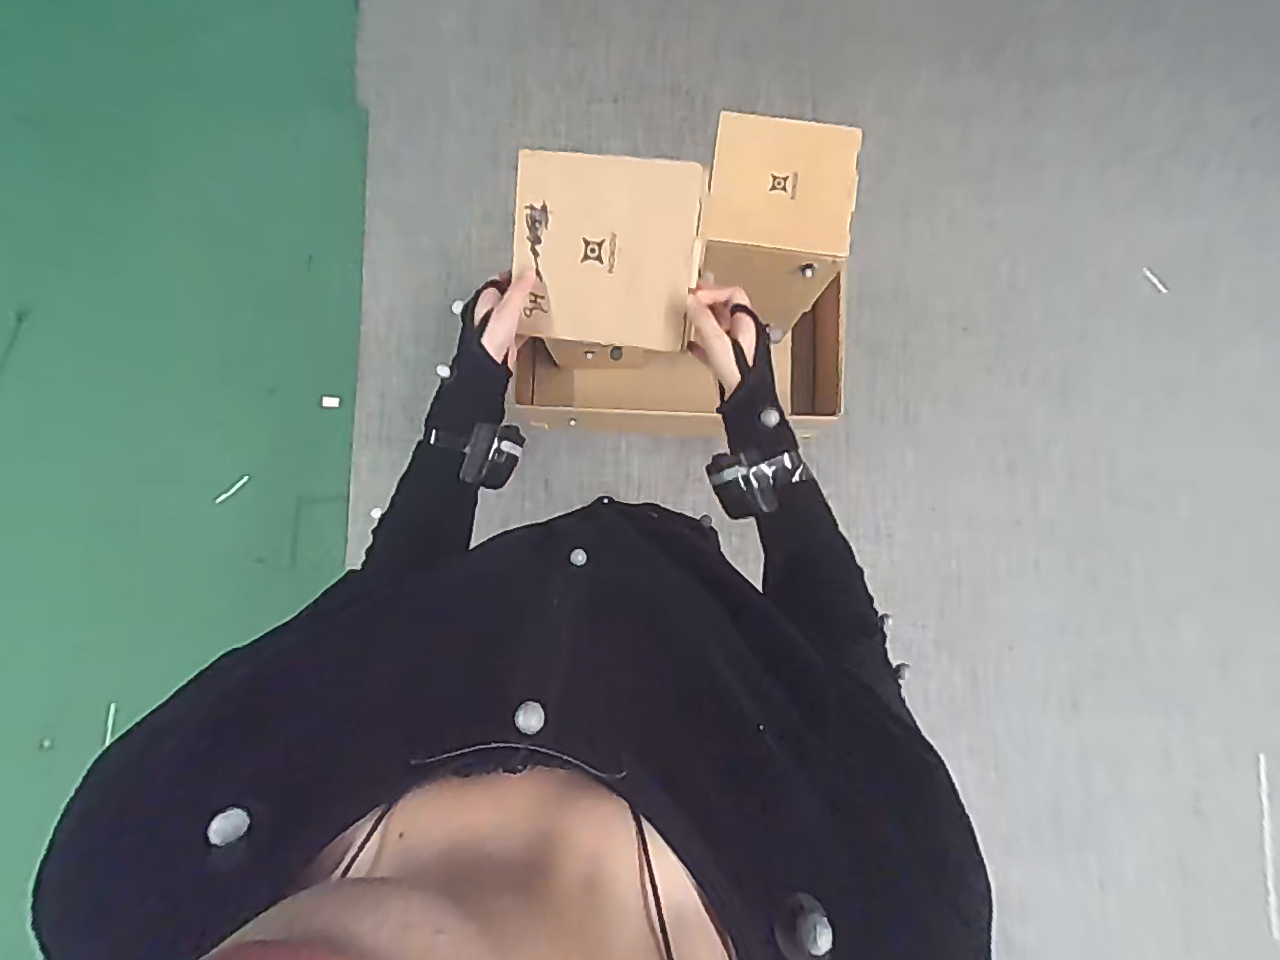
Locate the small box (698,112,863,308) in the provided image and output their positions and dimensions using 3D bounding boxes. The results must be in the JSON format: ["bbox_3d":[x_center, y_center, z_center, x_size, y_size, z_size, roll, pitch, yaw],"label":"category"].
[{"bbox_3d":[0.171,-0.345,0.721,0.179,0.176,0.168,8,86,1],"label":"small box"}]

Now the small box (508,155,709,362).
[{"bbox_3d":[-0.024,-0.223,0.581,0.179,0.176,0.168,9,103,6],"label":"small box"}]
